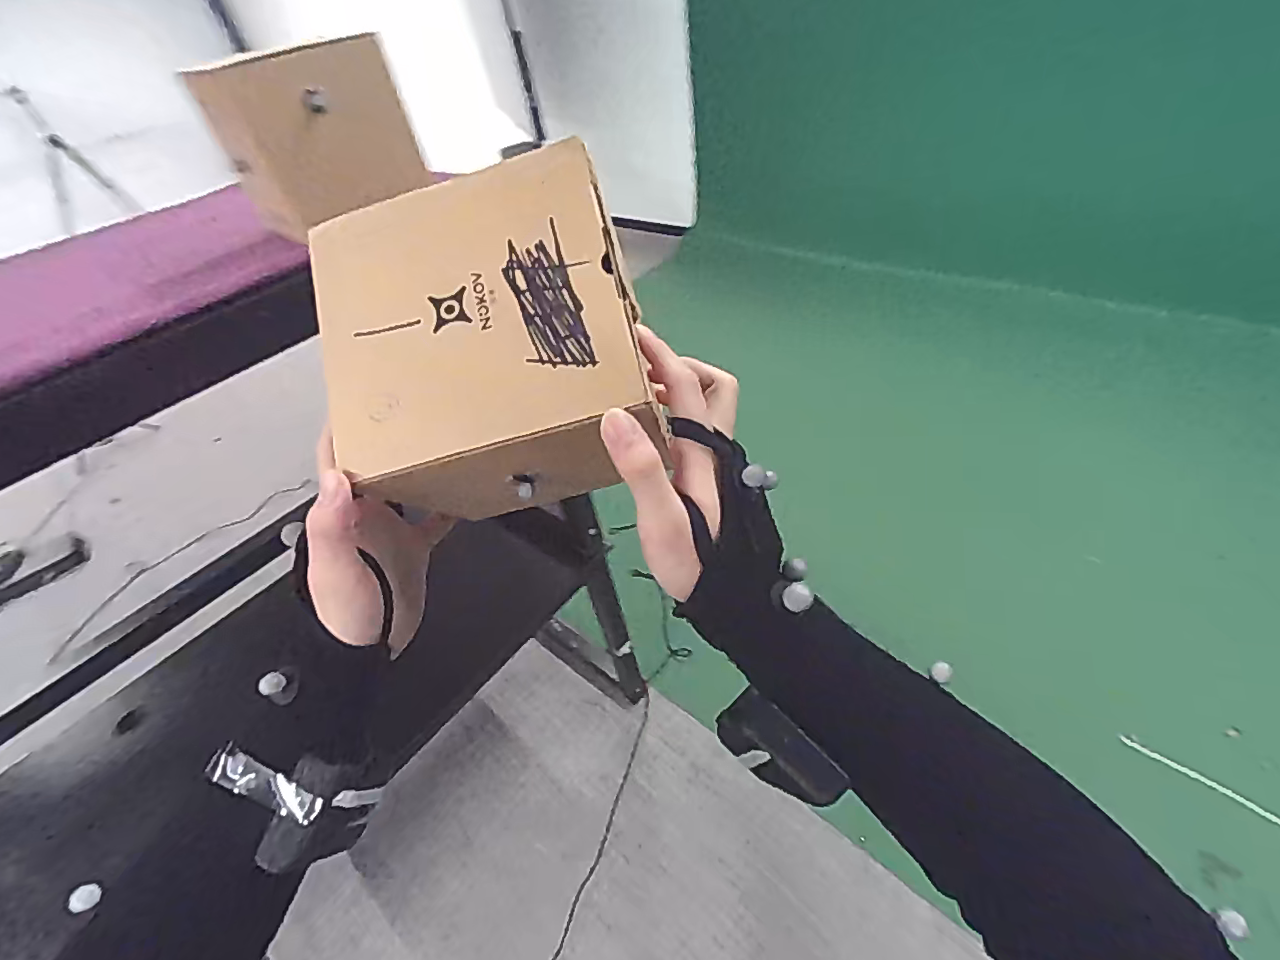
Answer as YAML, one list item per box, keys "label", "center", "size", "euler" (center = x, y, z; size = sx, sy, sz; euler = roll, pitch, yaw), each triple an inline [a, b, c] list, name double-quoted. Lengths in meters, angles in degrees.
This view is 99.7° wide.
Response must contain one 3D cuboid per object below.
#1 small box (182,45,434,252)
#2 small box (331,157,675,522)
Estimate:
- label: "small box"
  center: [-0.386, -0.395, 0.650]
  size: [0.168, 0.176, 0.179]
  euler: [31, 58, 35]
- label: "small box"
  center: [-0.077, -0.075, 0.381]
  size: [0.179, 0.176, 0.168]
  euler: [-14, 76, 6]
